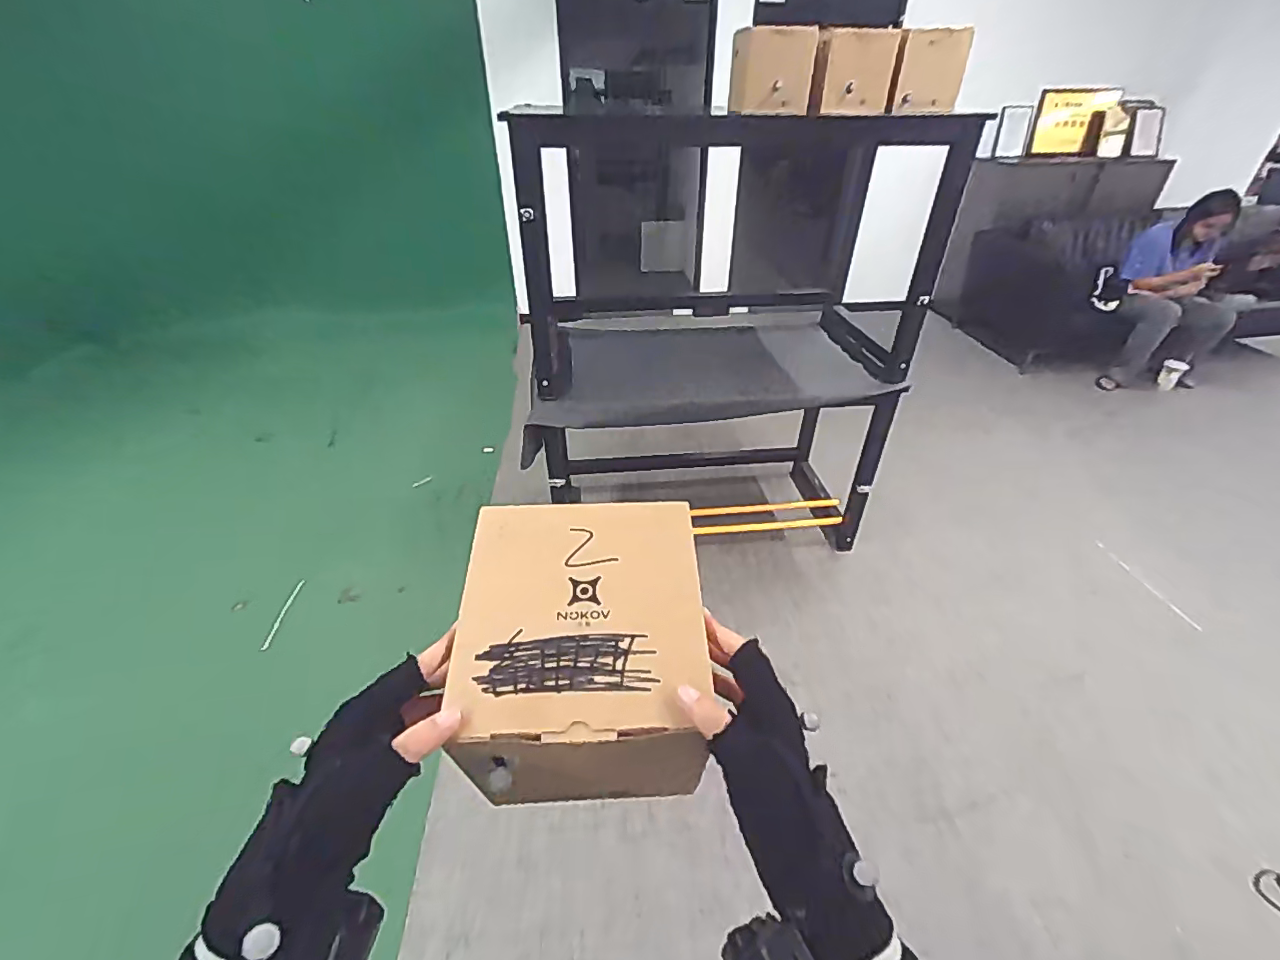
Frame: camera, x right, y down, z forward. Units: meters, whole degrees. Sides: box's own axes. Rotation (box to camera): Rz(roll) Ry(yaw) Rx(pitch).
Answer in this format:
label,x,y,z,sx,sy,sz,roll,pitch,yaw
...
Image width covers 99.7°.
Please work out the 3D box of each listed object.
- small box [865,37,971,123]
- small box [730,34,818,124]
label,x,y,z,sx,sy,sz,roll,pitch,yaw
small box,0.710,-1.032,1.400,0.168,0.176,0.179,-2,34,-3
small box,0.329,-1.013,1.373,0.168,0.176,0.179,-2,35,-3
